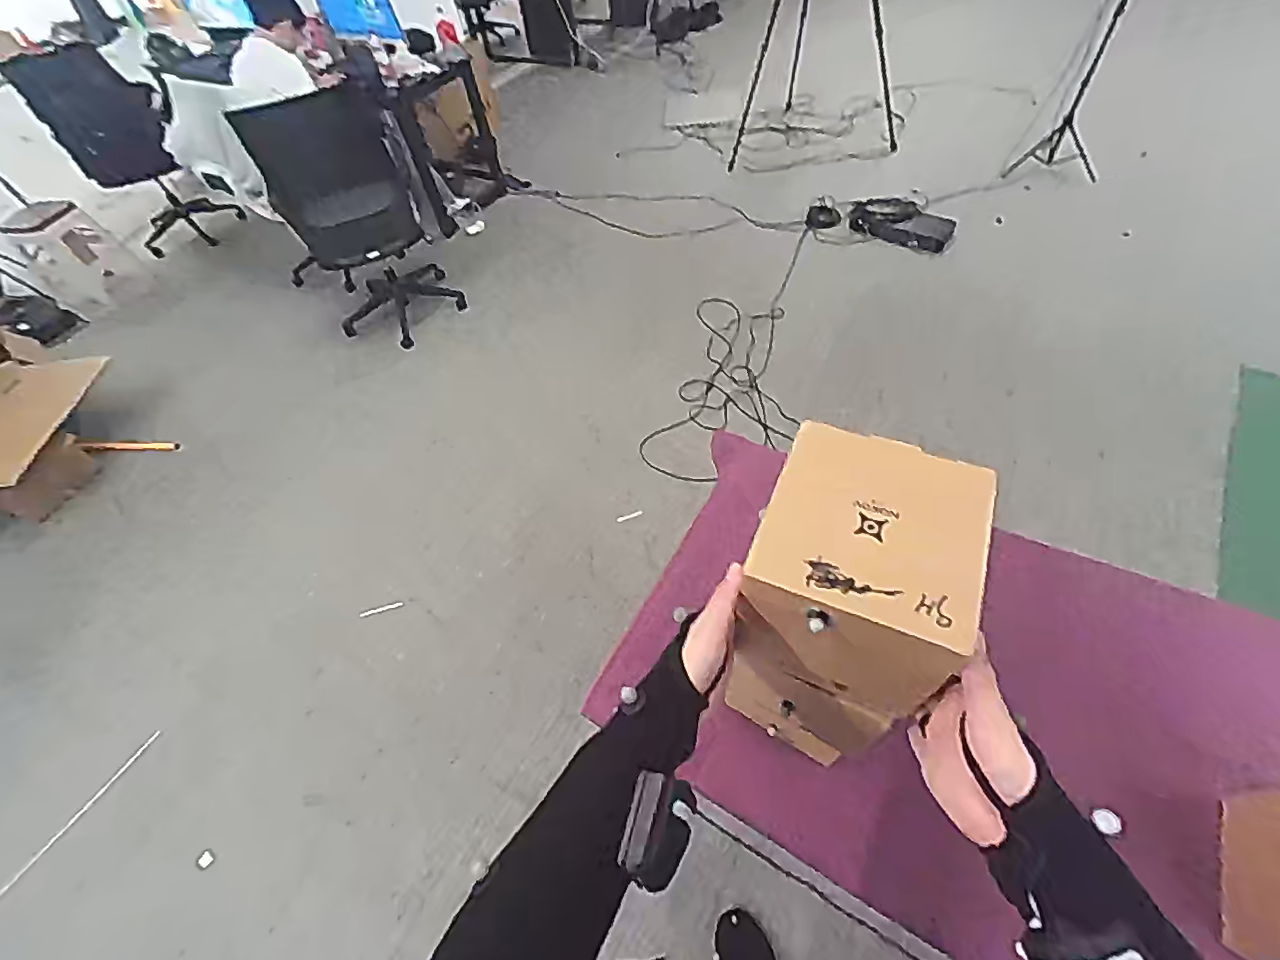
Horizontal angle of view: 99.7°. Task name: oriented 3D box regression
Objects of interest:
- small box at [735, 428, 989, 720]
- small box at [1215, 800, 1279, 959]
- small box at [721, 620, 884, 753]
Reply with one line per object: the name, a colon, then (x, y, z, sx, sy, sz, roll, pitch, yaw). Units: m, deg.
small box: (0.191, 0.087, 0.498, 0.168, 0.176, 0.179, 18, 57, 20)
small box: (0.761, 0.460, 0.564, 0.168, 0.176, 0.179, 24, 60, 24)
small box: (0.206, 0.188, 0.632, 0.168, 0.176, 0.179, 22, 60, 22)
